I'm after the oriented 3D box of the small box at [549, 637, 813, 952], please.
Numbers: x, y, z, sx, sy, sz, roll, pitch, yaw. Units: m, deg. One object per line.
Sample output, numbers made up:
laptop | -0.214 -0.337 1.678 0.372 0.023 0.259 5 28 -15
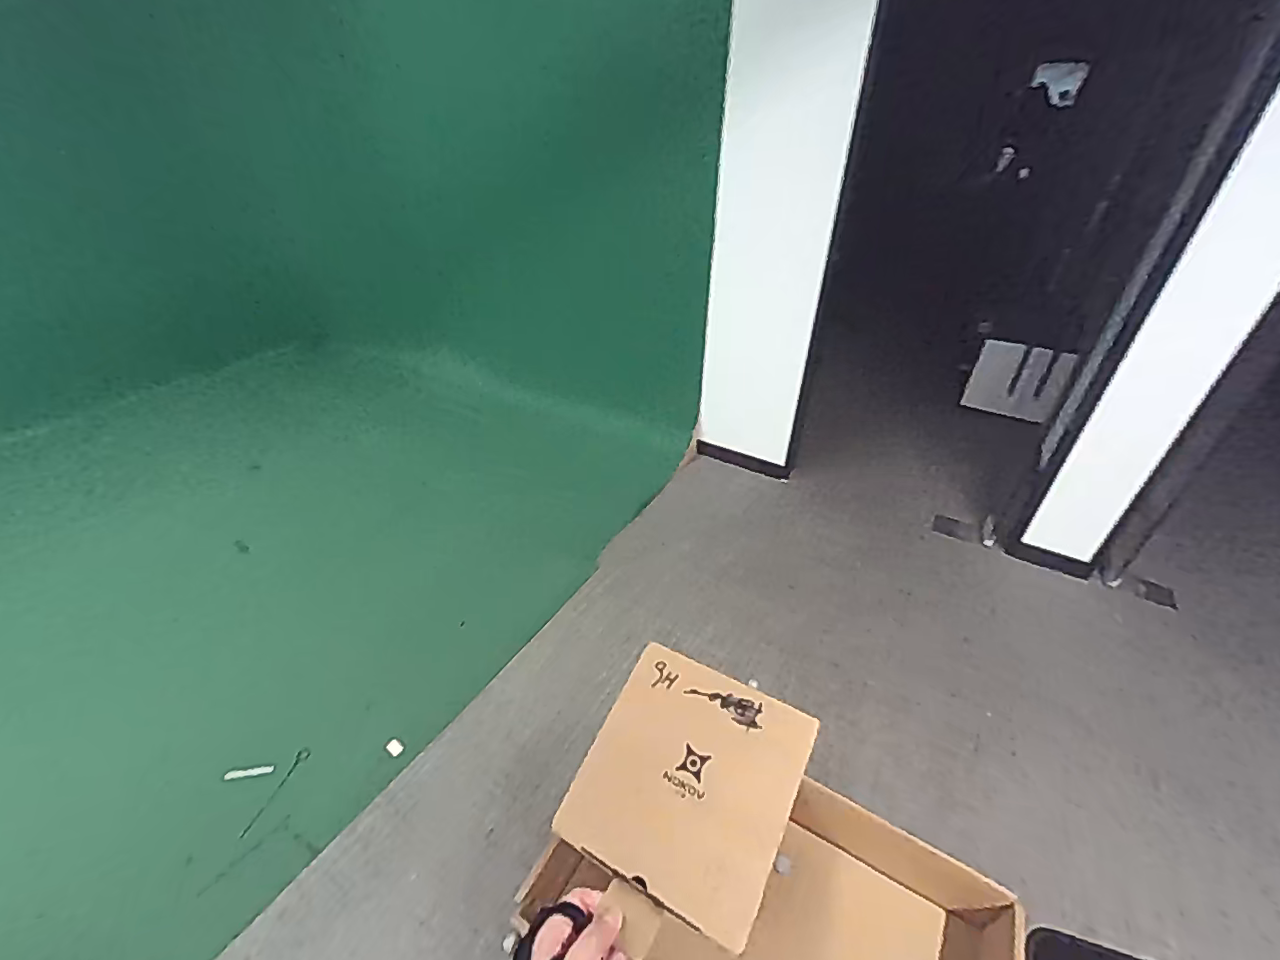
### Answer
small box | 0.049 0.284 0.501 0.168 0.176 0.179 19 58 24
